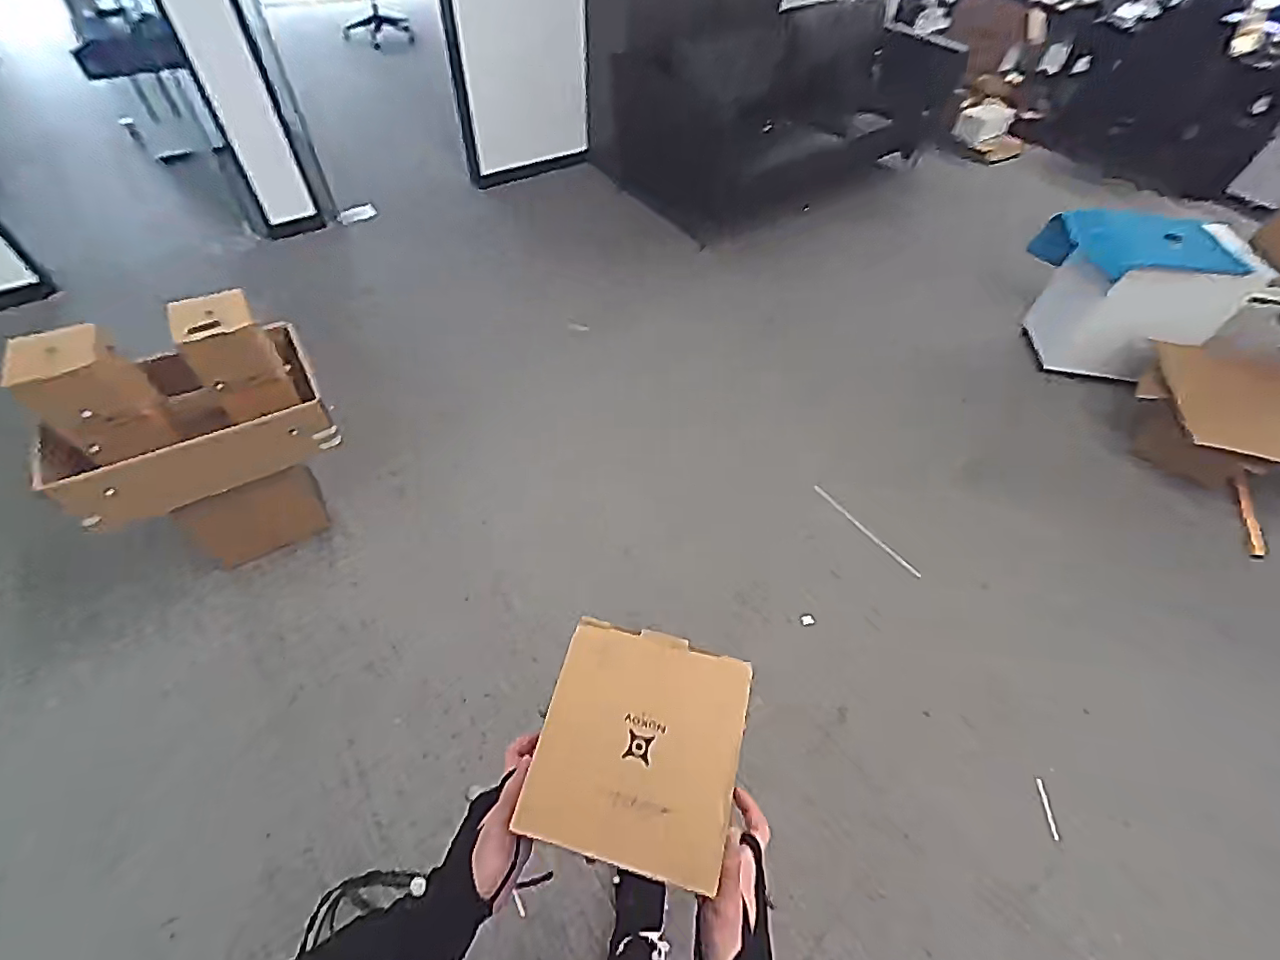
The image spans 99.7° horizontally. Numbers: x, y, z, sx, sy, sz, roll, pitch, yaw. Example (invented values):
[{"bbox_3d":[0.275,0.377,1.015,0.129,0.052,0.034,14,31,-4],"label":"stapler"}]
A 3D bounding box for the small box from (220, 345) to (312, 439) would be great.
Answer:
[{"bbox_3d":[-1.068,-0.249,1.535,0.168,0.176,0.179,-25,59,-21],"label":"small box"}]

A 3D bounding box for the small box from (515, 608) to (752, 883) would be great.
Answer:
[{"bbox_3d":[-0.001,0.247,0.520,0.168,0.176,0.179,13,62,7],"label":"small box"}]

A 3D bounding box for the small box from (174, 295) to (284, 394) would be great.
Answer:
[{"bbox_3d":[-1.057,-0.343,1.401,0.168,0.176,0.179,-24,58,-21],"label":"small box"}]

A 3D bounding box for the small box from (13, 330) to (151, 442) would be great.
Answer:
[{"bbox_3d":[-1.316,-0.222,1.290,0.168,0.176,0.179,-24,58,-19],"label":"small box"}]
